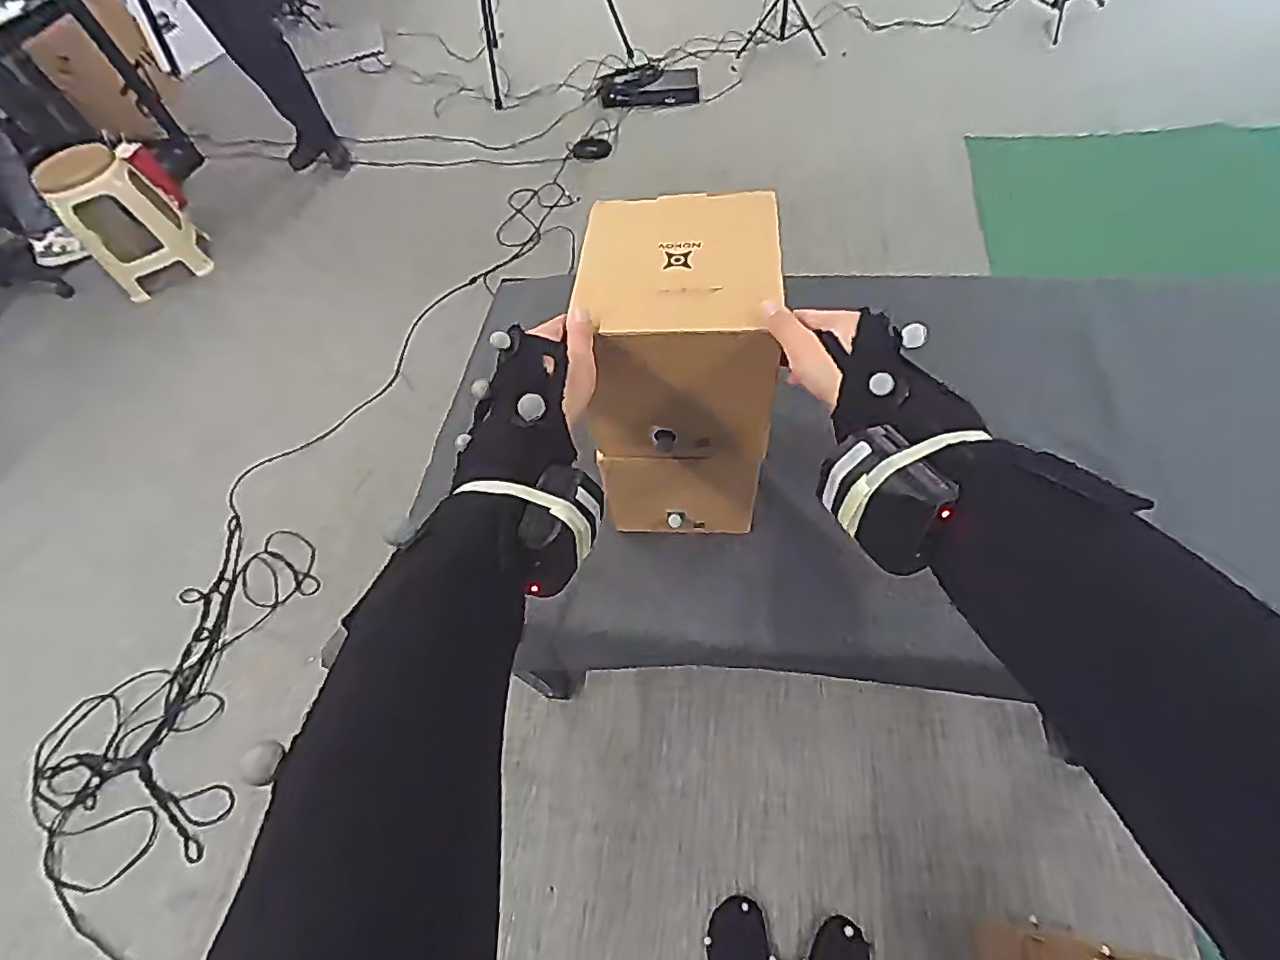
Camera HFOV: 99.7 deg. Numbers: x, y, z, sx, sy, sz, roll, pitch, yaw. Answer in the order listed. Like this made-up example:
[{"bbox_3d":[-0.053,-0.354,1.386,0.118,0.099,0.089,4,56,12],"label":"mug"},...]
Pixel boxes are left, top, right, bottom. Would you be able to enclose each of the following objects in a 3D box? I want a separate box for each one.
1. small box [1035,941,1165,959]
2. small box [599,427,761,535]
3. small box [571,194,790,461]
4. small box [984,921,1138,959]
[{"bbox_3d":[0.688,0.754,0.732,0.179,0.176,0.168,1,59,8],"label":"small box"},{"bbox_3d":[0.053,-0.050,0.648,0.168,0.176,0.179,0,59,8],"label":"small box"},{"bbox_3d":[0.042,-0.137,0.509,0.168,0.176,0.179,0,58,8],"label":"small box"},{"bbox_3d":[0.688,0.838,0.875,0.179,0.176,0.168,2,58,9],"label":"small box"}]
